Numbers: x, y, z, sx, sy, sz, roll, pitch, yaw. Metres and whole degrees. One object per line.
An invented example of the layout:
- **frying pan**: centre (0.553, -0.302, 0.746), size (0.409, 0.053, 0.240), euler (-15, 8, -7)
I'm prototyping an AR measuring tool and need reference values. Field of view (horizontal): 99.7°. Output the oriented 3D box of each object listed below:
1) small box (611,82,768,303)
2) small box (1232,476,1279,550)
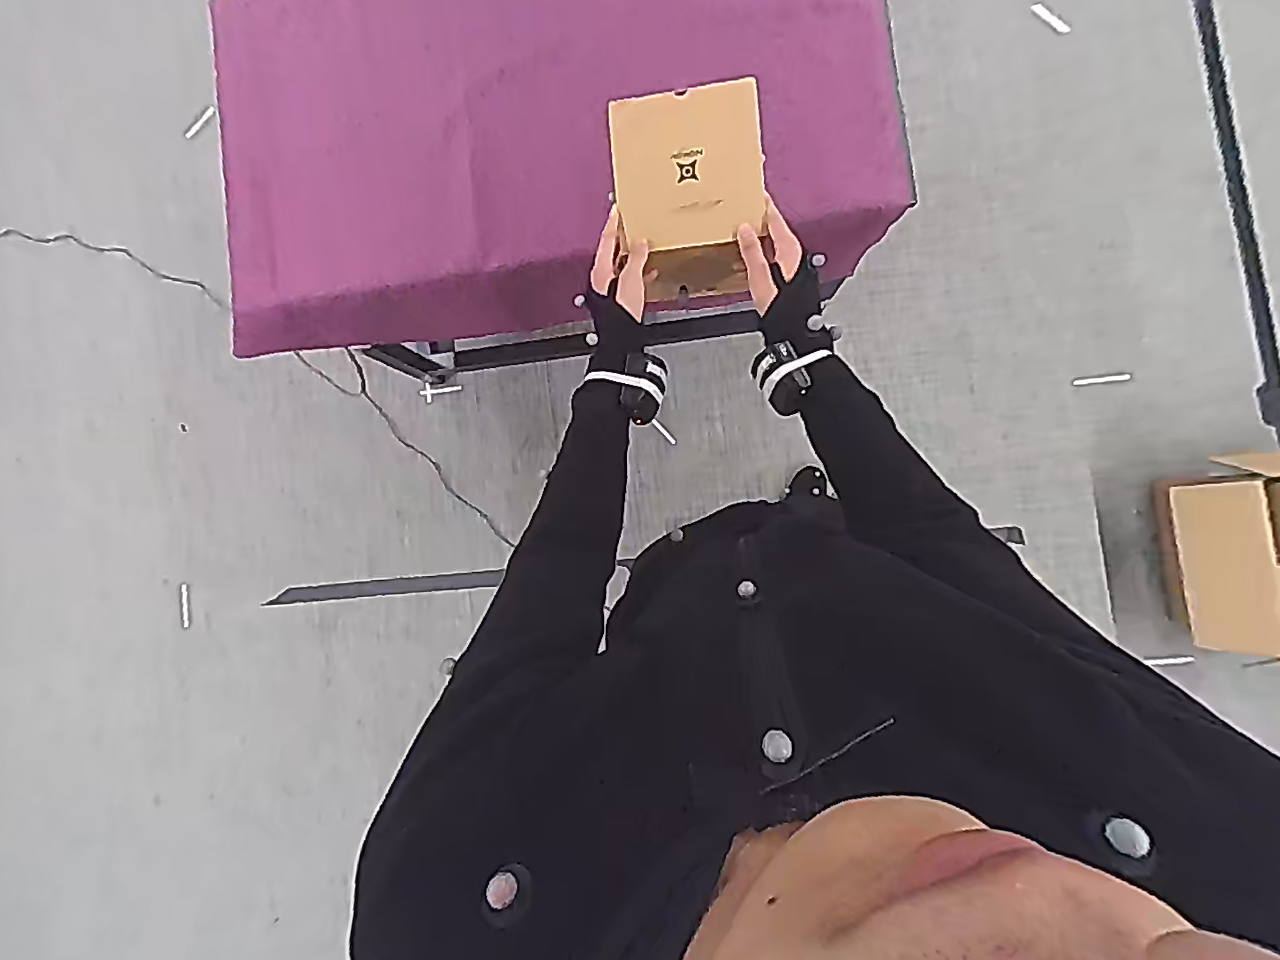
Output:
- **small box**: centre (0.061, -0.342, 0.676), size (0.168, 0.176, 0.179), euler (-5, 89, 7)
- **small box**: centre (1.529, 0.073, 1.240), size (0.179, 0.176, 0.168), euler (-8, 88, 5)
